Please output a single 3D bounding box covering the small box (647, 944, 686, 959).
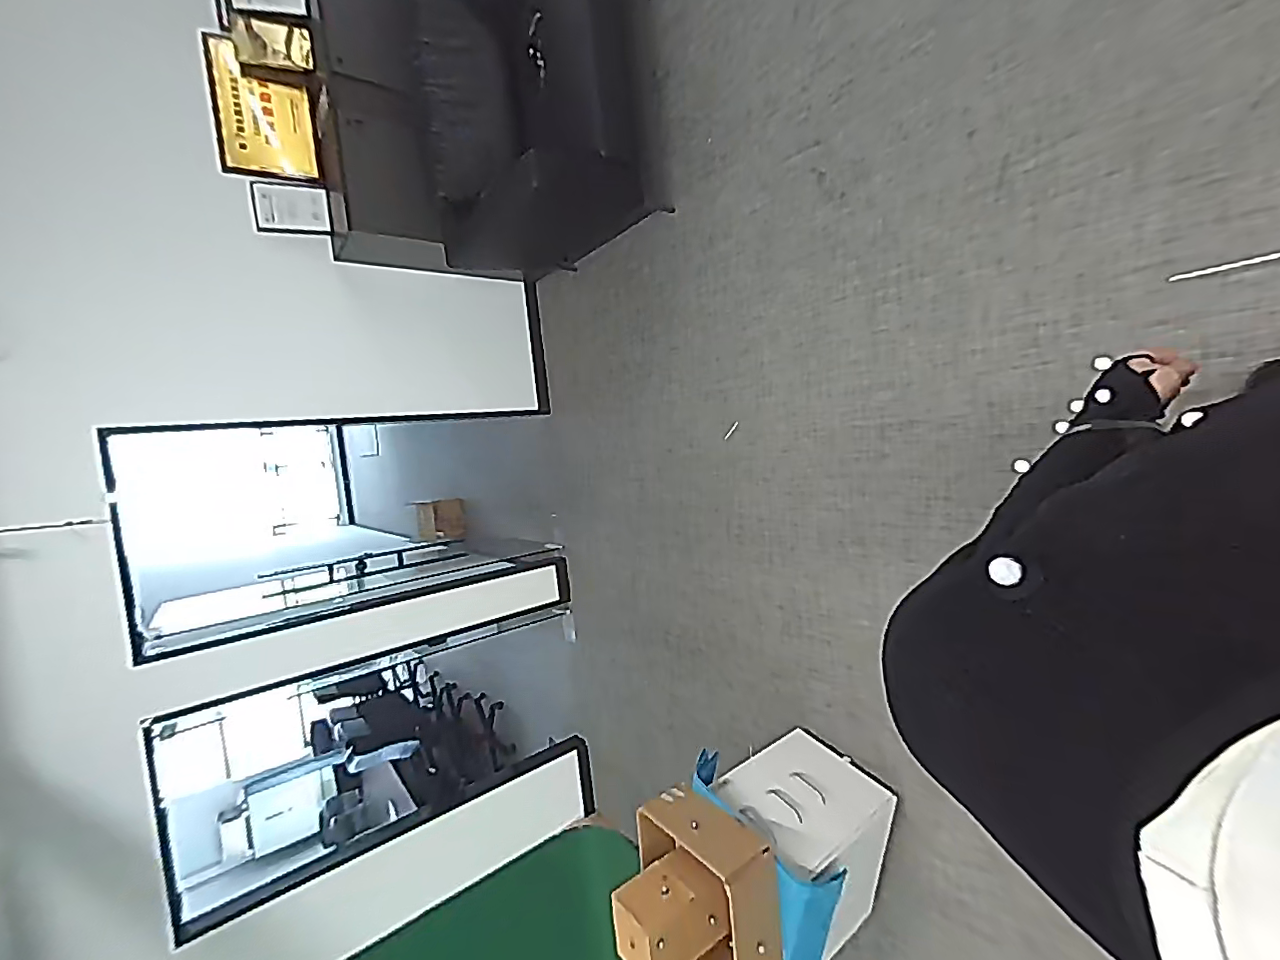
[{"bbox_3d":[0.075,1.433,1.463,0.168,0.176,0.179,0,96,53],"label":"small box"}]
